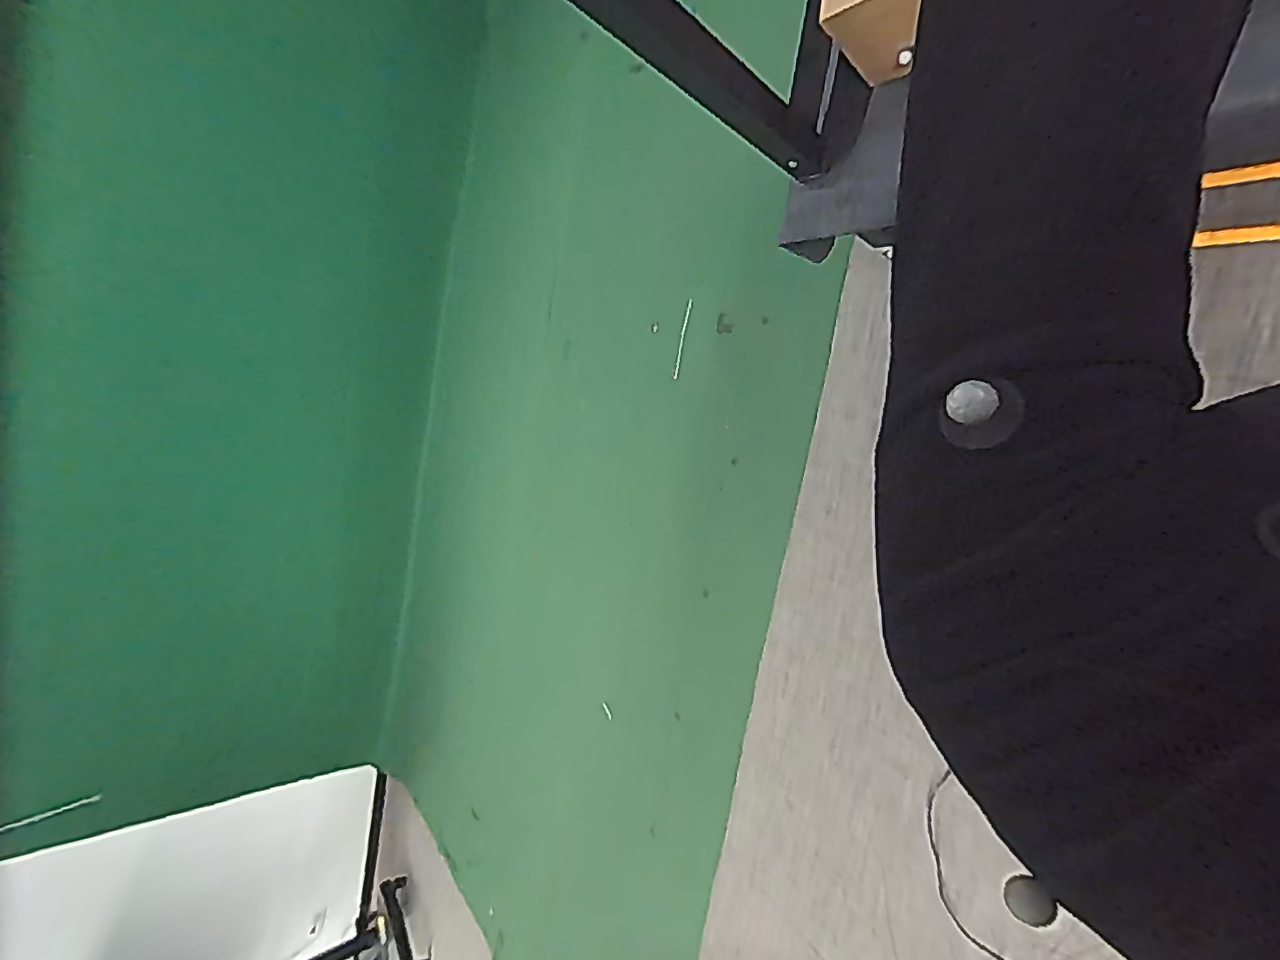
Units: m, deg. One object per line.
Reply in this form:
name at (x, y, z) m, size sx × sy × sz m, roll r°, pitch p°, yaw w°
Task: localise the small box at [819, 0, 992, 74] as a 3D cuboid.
small box at (0.372, -0.707, 0.729) m, size 0.168 × 0.176 × 0.179 m, roll 16°, pitch 99°, yaw 47°
